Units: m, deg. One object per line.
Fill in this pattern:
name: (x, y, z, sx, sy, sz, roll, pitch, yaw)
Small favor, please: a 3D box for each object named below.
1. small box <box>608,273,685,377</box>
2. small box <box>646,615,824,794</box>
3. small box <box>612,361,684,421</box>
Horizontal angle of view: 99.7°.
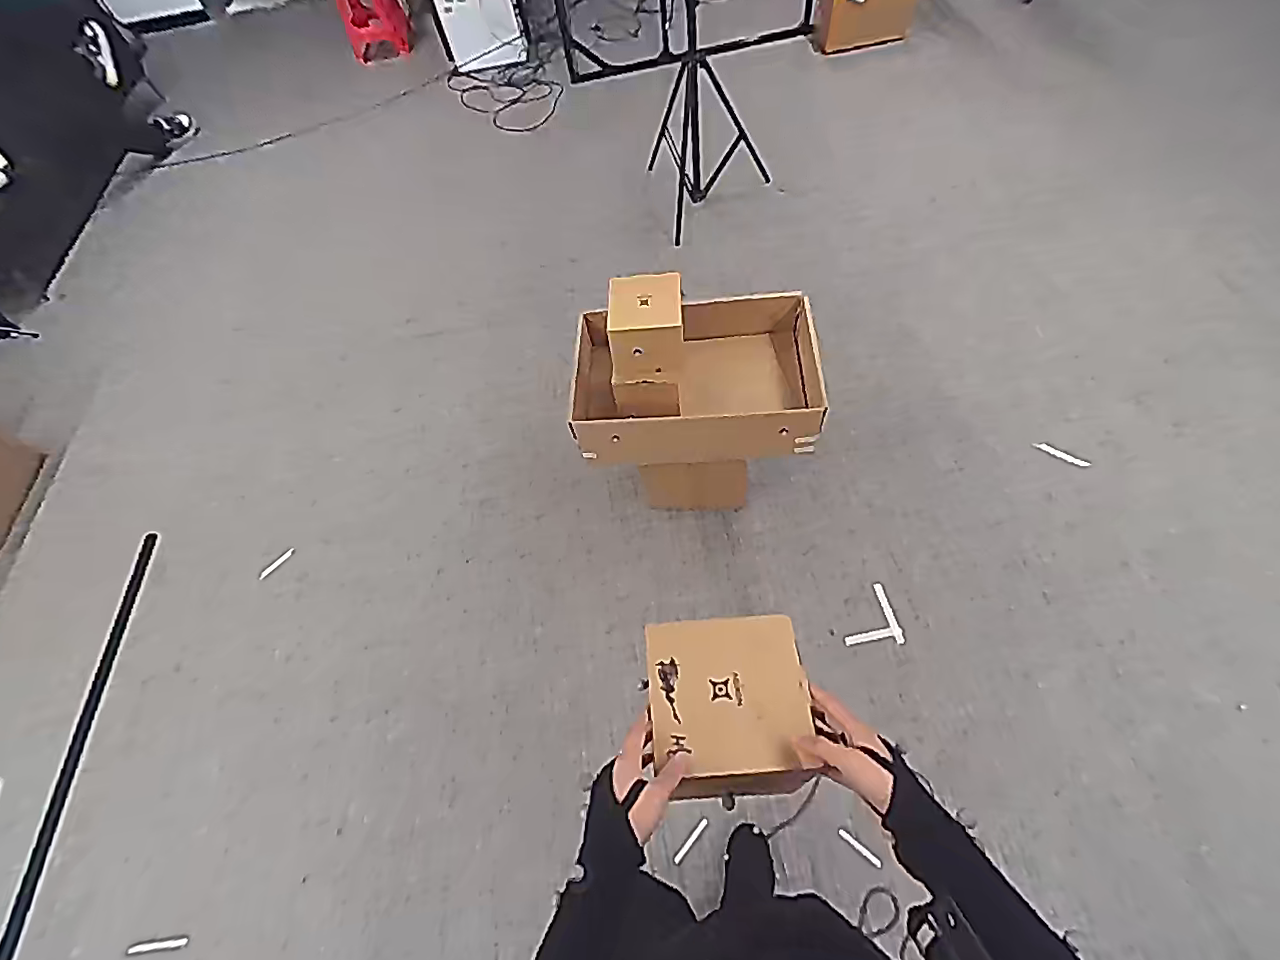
small box: (0.020, -0.359, 1.281, 0.168, 0.176, 0.179, -3, 59, 5)
small box: (0.099, 0.275, 0.656, 0.179, 0.176, 0.168, -2, 52, -1)
small box: (0.029, -0.267, 1.415, 0.168, 0.176, 0.179, 0, 59, 8)
